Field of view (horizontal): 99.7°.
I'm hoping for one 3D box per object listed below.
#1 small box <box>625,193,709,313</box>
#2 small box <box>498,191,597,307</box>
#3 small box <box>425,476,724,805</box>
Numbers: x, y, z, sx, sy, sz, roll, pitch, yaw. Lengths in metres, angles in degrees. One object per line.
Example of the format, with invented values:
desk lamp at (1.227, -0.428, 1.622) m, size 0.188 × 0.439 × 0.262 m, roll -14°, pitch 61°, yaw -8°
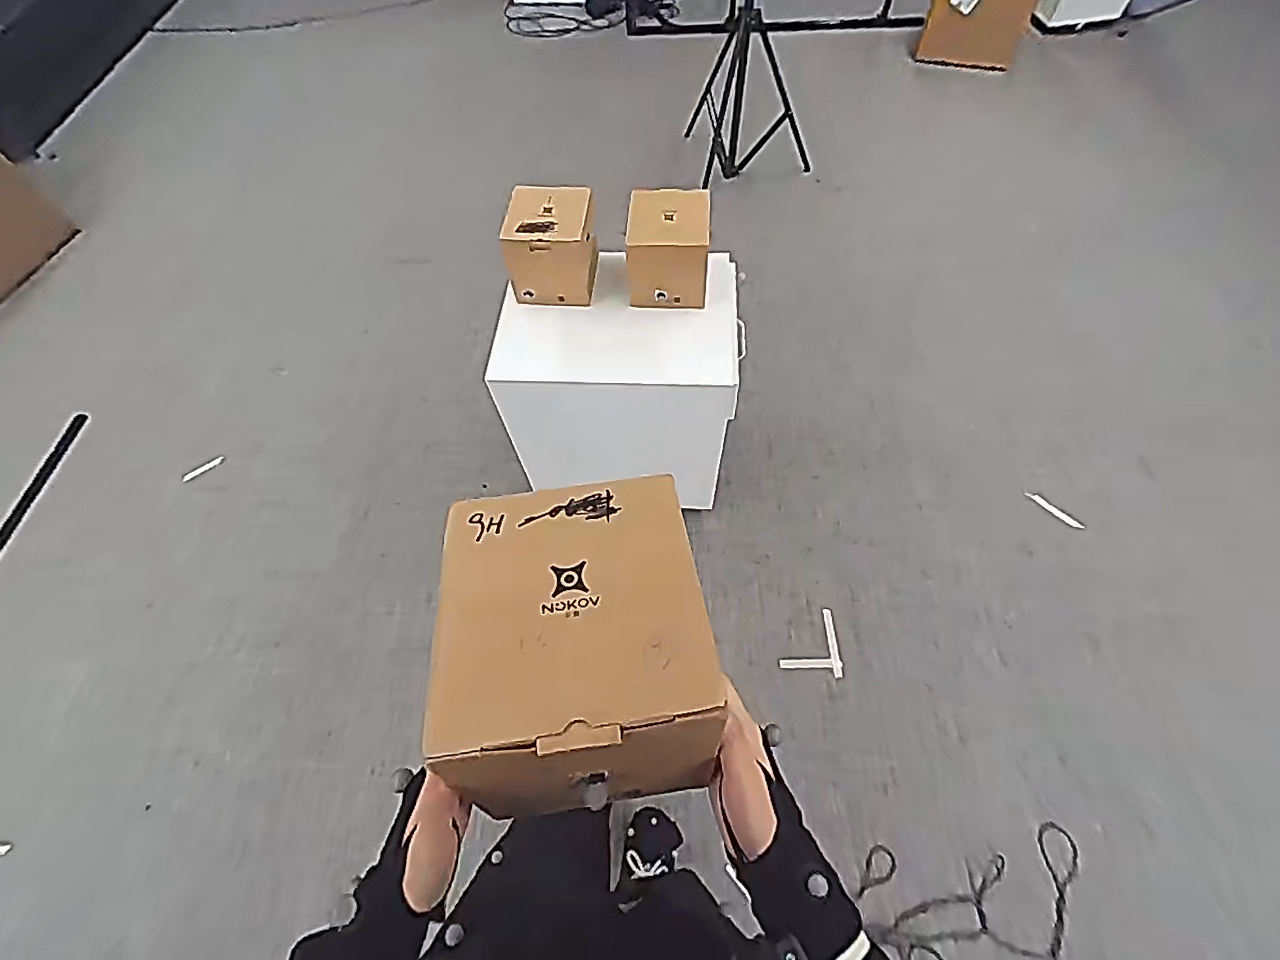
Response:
small box at (0.060, -0.482, 1.154) m, size 0.168 × 0.176 × 0.179 m, roll 1°, pitch 62°, yaw 5°
small box at (-0.190, -0.495, 1.169) m, size 0.168 × 0.176 × 0.179 m, roll 3°, pitch 61°, yaw 4°
small box at (-0.041, 0.124, 0.400) m, size 0.168 × 0.176 × 0.179 m, roll -7°, pitch 50°, yaw -4°
